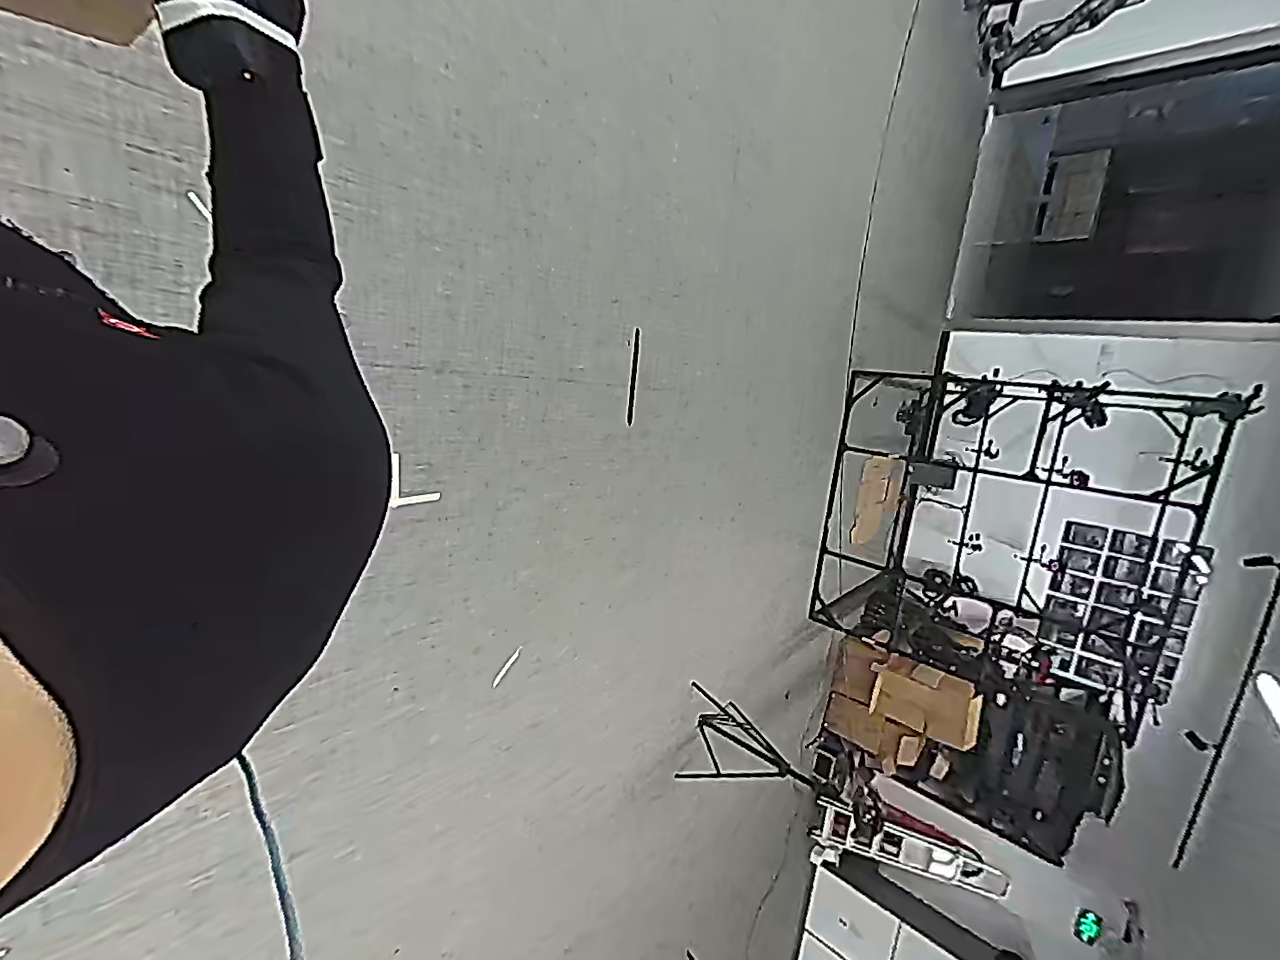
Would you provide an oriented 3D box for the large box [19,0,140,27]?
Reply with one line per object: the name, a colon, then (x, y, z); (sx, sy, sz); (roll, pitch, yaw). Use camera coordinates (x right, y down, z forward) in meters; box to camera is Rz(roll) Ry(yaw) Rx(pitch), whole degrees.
large box: (-0.524, -0.504, 0.256); (0.408, 0.320, 0.320); (-16, 121, -47)
